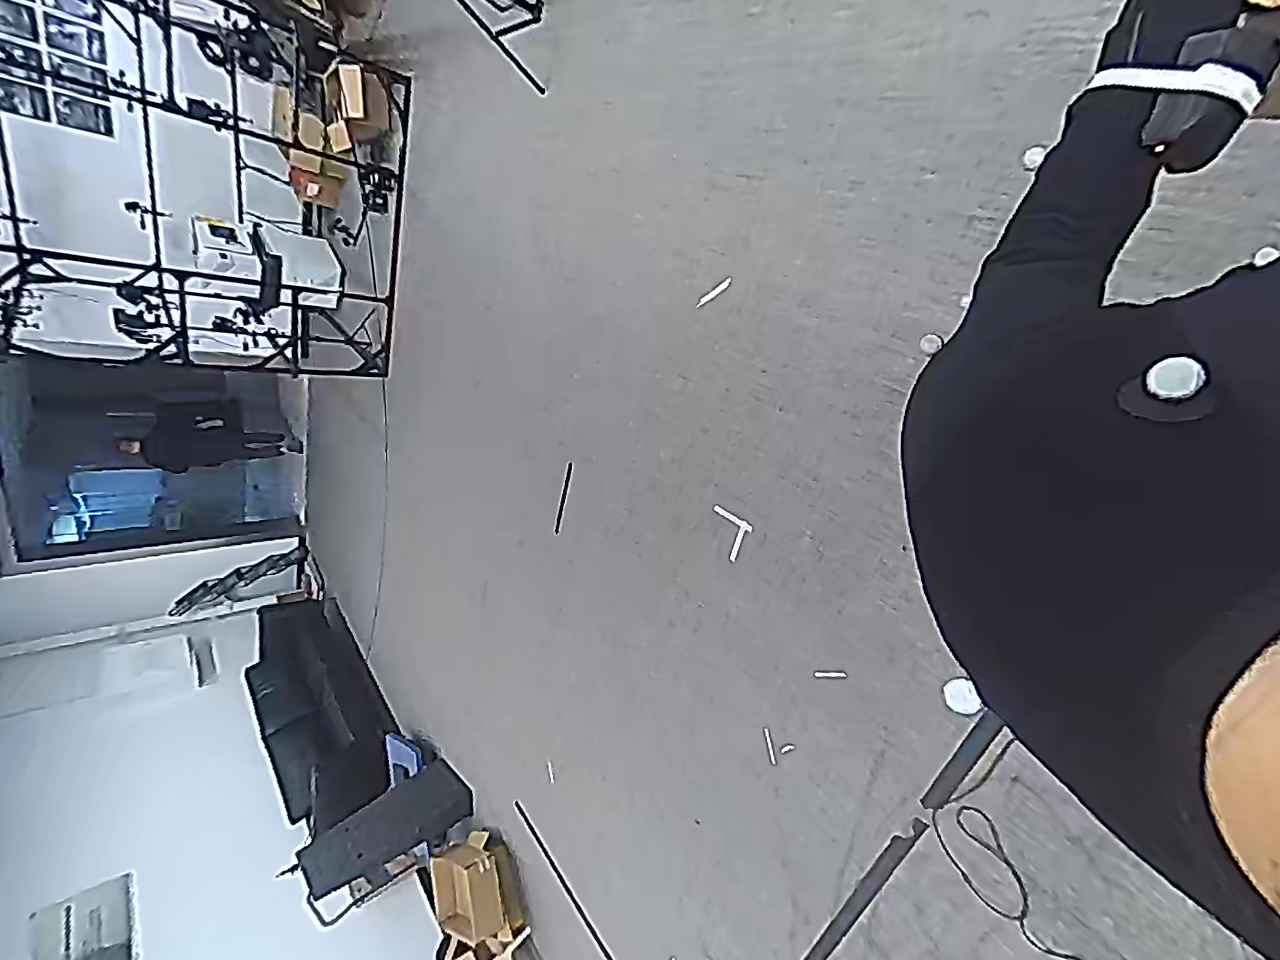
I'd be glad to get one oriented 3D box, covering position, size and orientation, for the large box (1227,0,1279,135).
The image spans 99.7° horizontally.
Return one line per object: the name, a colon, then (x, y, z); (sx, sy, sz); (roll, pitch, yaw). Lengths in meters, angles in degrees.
large box: (0.629, -0.366, 0.252); (0.408, 0.320, 0.320); (31, 125, 36)
